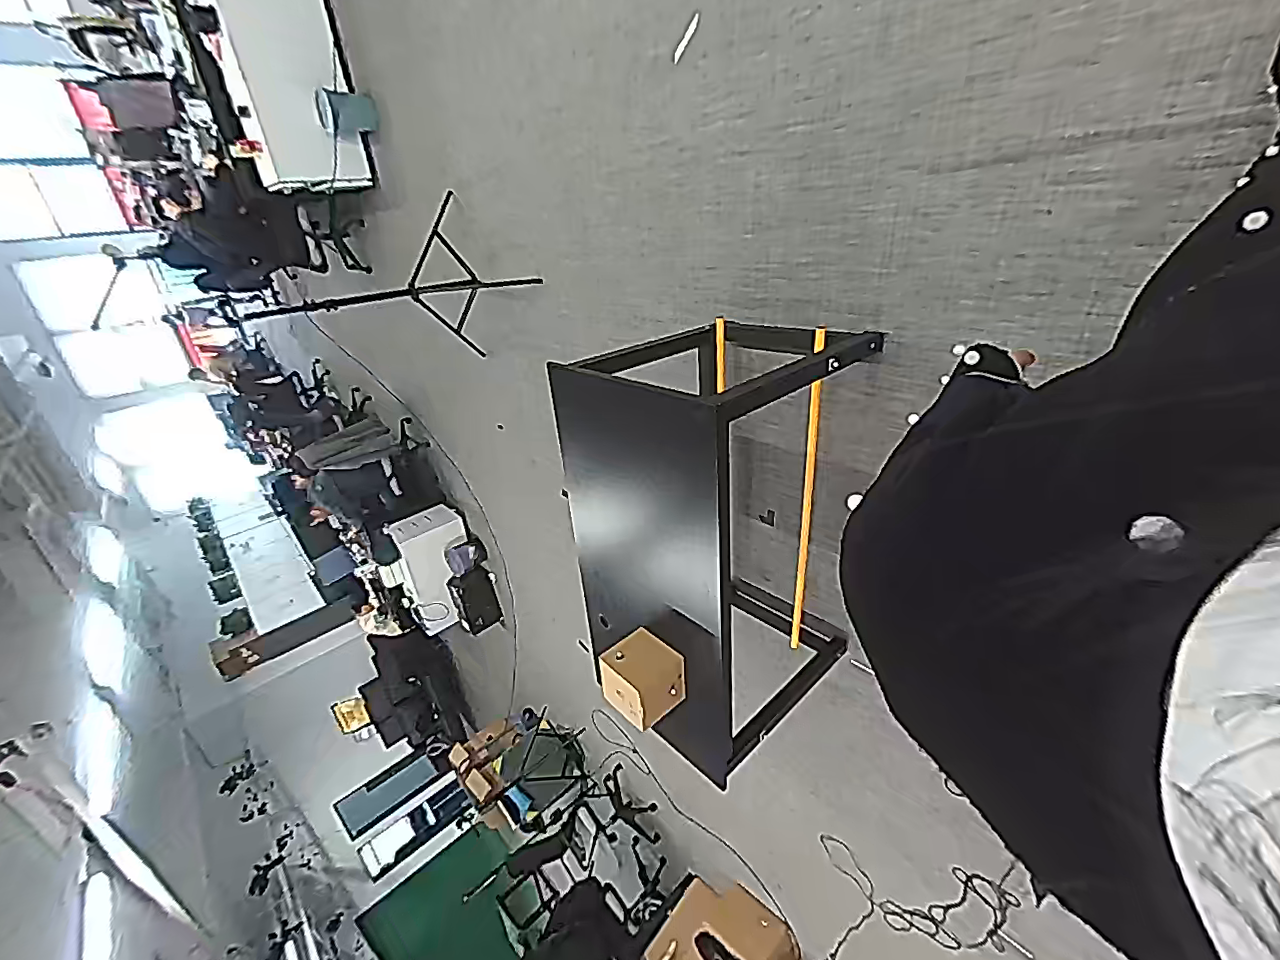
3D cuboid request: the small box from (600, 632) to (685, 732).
[{"bbox_3d":[0.010,0.561,1.536,0.179,0.176,0.168,25,130,42],"label":"small box"}]
